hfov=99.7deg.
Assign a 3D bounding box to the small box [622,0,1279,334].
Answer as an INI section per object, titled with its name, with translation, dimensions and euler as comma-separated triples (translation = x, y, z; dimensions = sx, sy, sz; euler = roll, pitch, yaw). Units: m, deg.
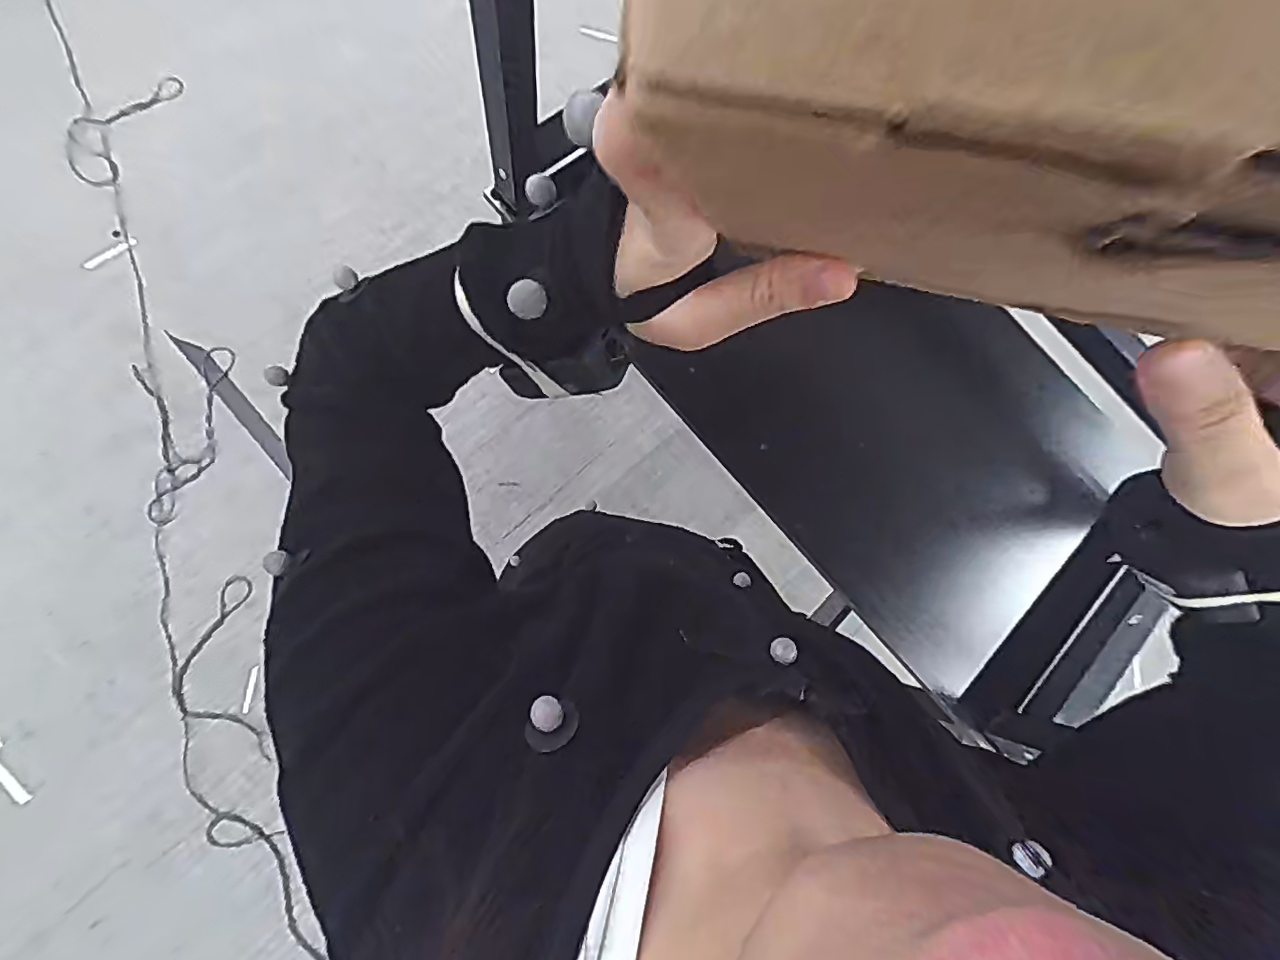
[small box]
translation = 0.110, -0.125, 0.089
dimensions = 0.168, 0.176, 0.179
euler = 15, 109, 9
